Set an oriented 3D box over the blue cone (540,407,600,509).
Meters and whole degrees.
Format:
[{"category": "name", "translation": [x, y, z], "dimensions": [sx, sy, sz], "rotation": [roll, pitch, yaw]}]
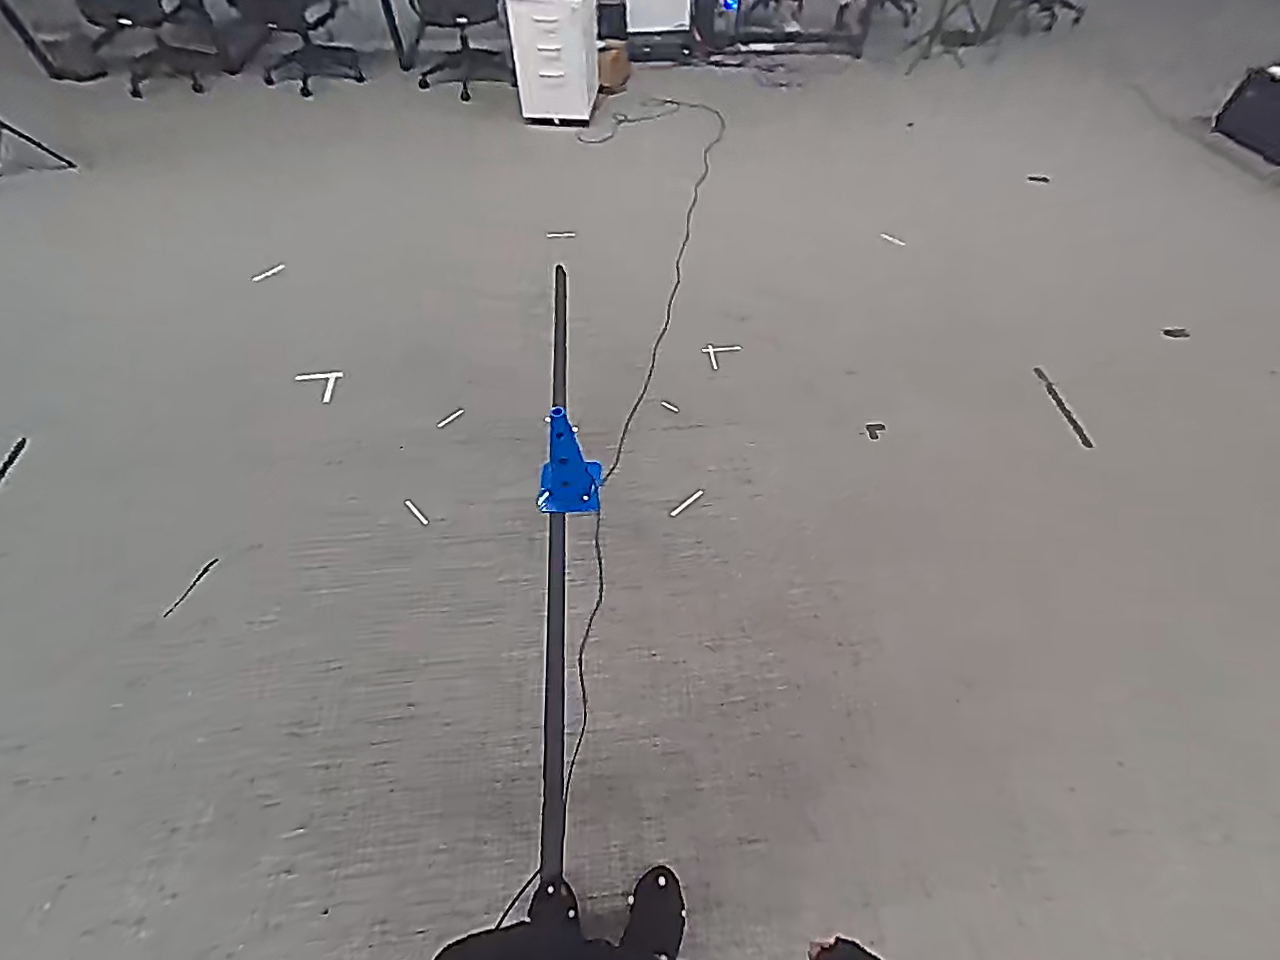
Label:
[{"category": "blue cone", "translation": [-0.222, -0.084, 1.618], "dimensions": [0.193, 0.380, 0.192], "rotation": [-1, 54, -2]}]
